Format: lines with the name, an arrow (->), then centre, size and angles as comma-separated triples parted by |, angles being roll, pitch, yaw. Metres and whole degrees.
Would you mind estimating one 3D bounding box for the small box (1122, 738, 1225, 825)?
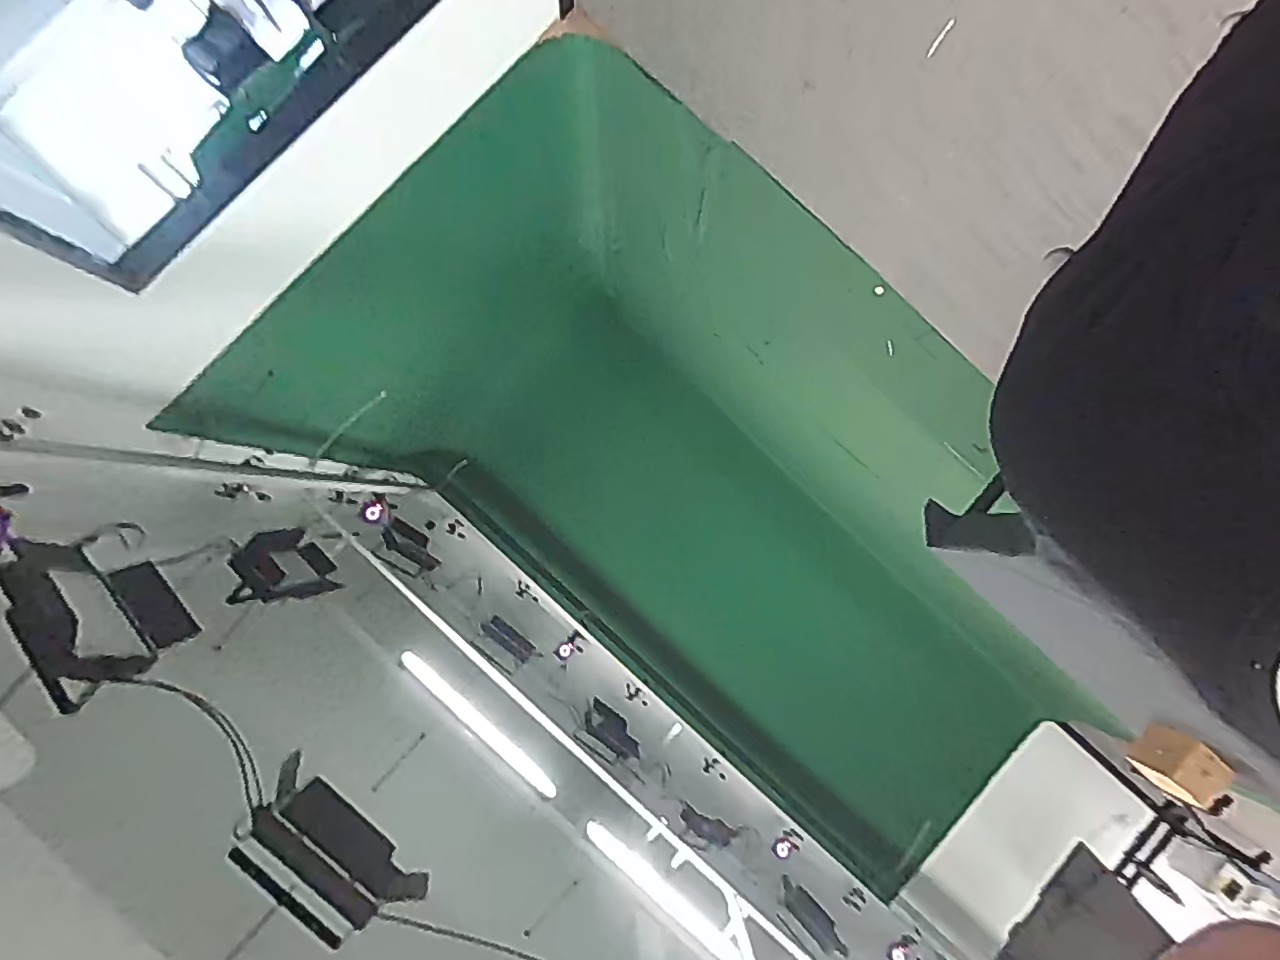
small box -> 1.867, 1.041, 1.885 | 0.168, 0.176, 0.179 | 44, 175, 0
